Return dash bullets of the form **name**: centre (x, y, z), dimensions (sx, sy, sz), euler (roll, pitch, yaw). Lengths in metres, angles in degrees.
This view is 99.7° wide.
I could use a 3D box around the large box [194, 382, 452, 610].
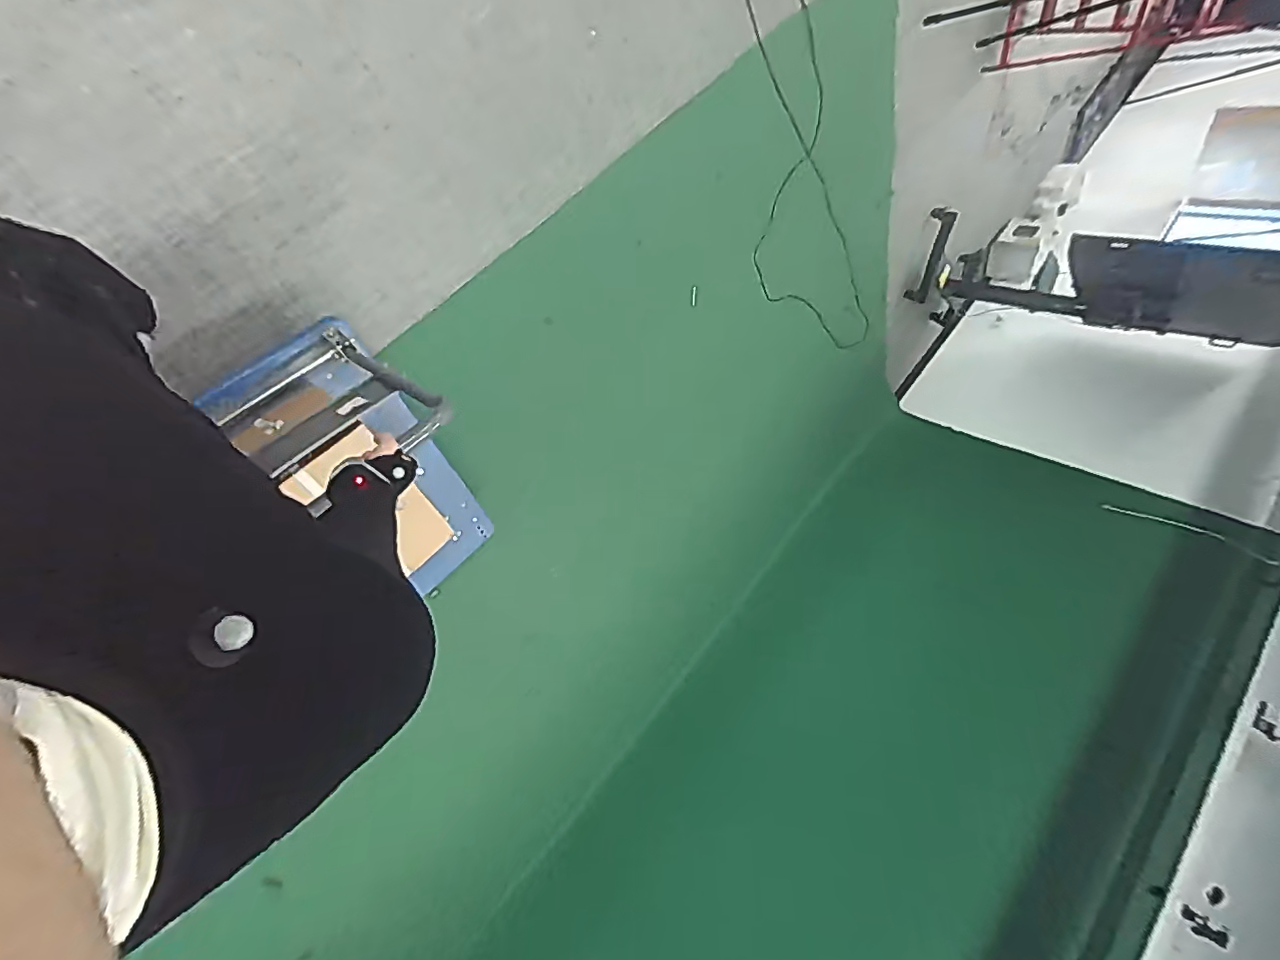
- **large box**: centre (-0.752, 0.037, 1.319), dimensions (0.320, 0.320, 0.408), euler (-44, 141, -21)
